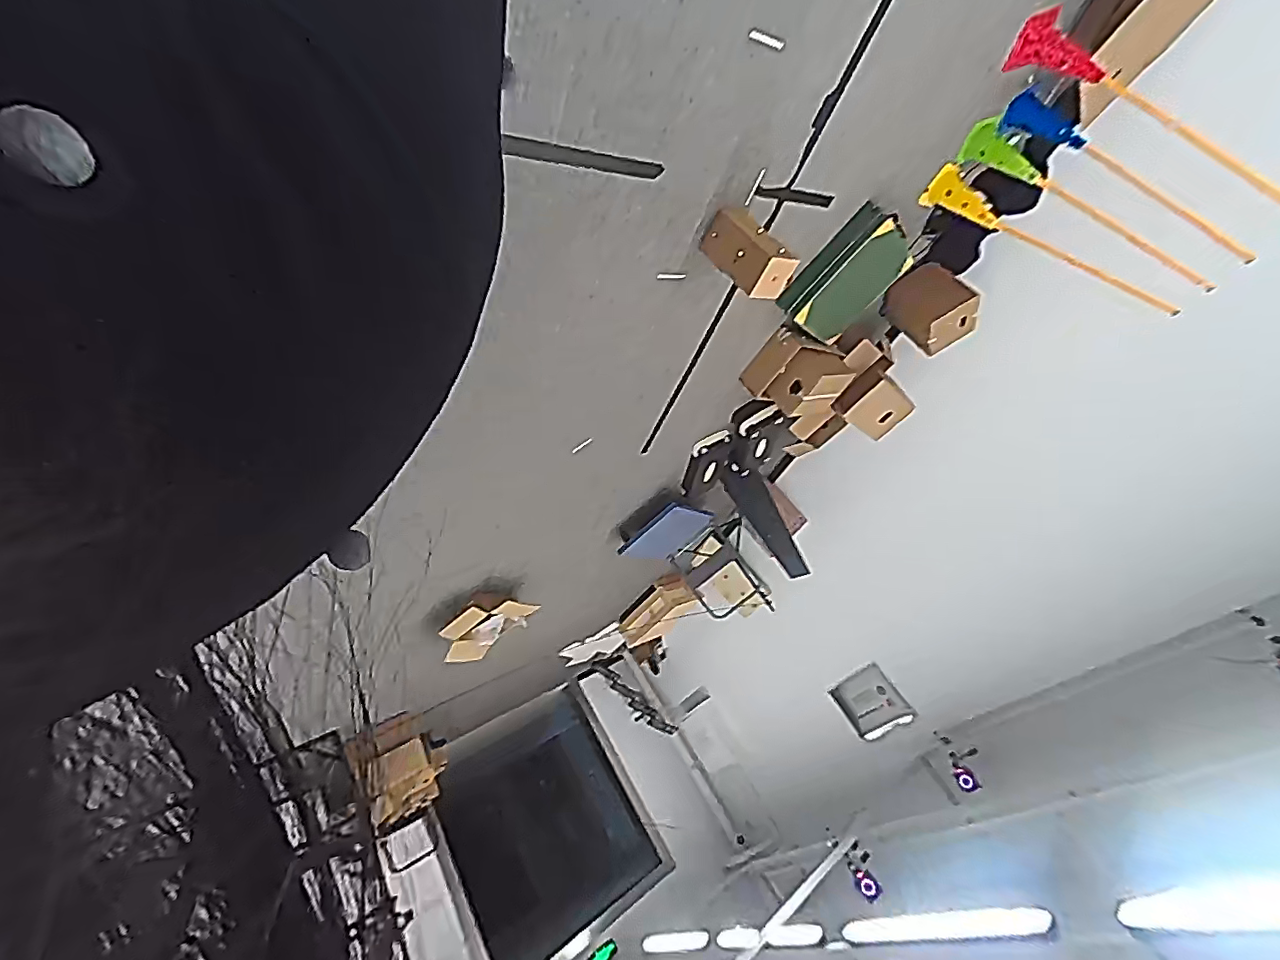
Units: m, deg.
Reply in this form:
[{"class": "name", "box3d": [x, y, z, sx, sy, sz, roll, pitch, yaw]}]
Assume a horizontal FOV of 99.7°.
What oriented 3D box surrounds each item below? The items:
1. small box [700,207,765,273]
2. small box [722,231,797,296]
[{"class": "small box", "box3d": [0.362, -0.935, 2.119, 0.168, 0.176, 0.179, -15, 150, -40]}, {"class": "small box", "box3d": [0.449, -0.819, 2.045, 0.179, 0.176, 0.168, -13, 147, -39]}]
